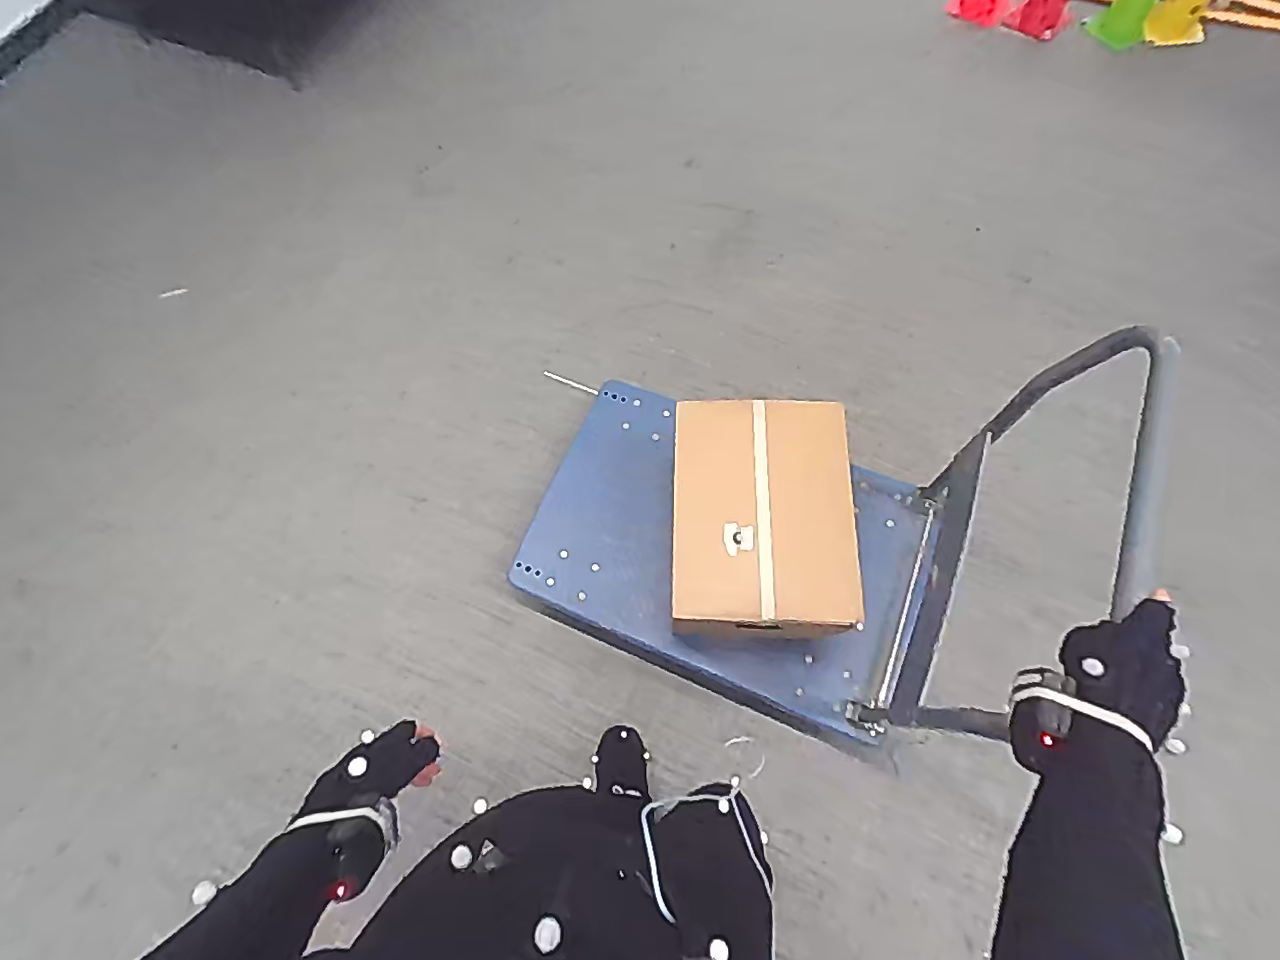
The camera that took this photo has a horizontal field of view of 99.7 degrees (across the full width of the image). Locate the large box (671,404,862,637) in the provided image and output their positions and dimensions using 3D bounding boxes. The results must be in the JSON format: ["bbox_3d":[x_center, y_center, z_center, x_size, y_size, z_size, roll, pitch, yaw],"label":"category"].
[{"bbox_3d":[0.220,0.095,1.091,0.320,0.320,0.408,1,70,4],"label":"large box"}]
